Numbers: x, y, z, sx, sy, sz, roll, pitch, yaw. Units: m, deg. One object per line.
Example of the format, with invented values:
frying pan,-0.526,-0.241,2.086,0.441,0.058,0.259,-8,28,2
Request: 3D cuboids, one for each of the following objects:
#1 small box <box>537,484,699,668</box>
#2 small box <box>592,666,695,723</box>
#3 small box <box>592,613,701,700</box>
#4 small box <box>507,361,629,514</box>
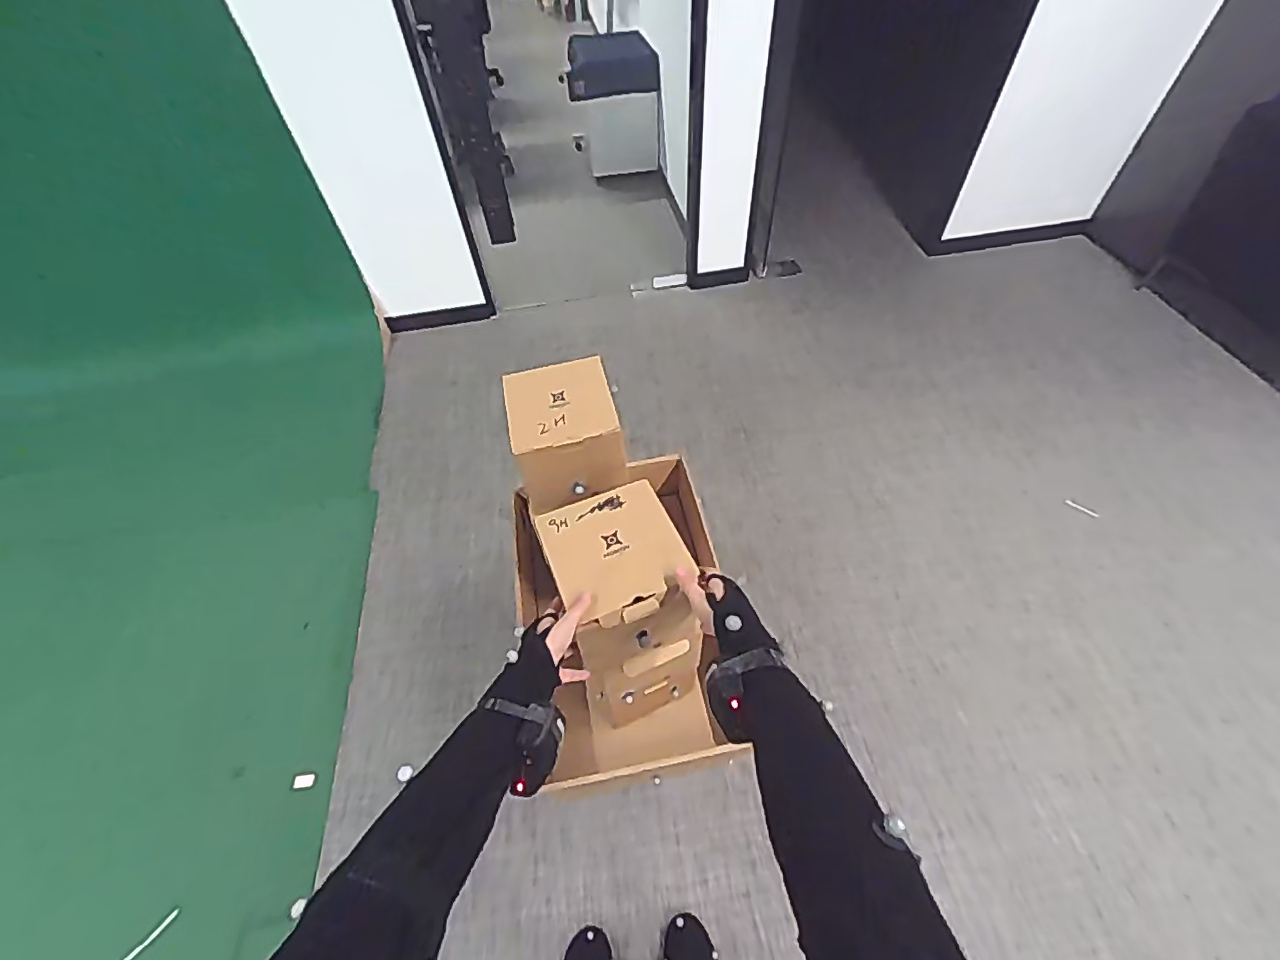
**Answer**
small box,-0.030,0.141,0.752,0.168,0.176,0.179,-18,54,-12
small box,-0.007,0.335,1.016,0.168,0.176,0.179,-21,54,-13
small box,-0.012,0.237,0.885,0.168,0.176,0.179,-21,53,-13
small box,-0.119,-0.069,0.915,0.168,0.176,0.179,-13,54,-5
